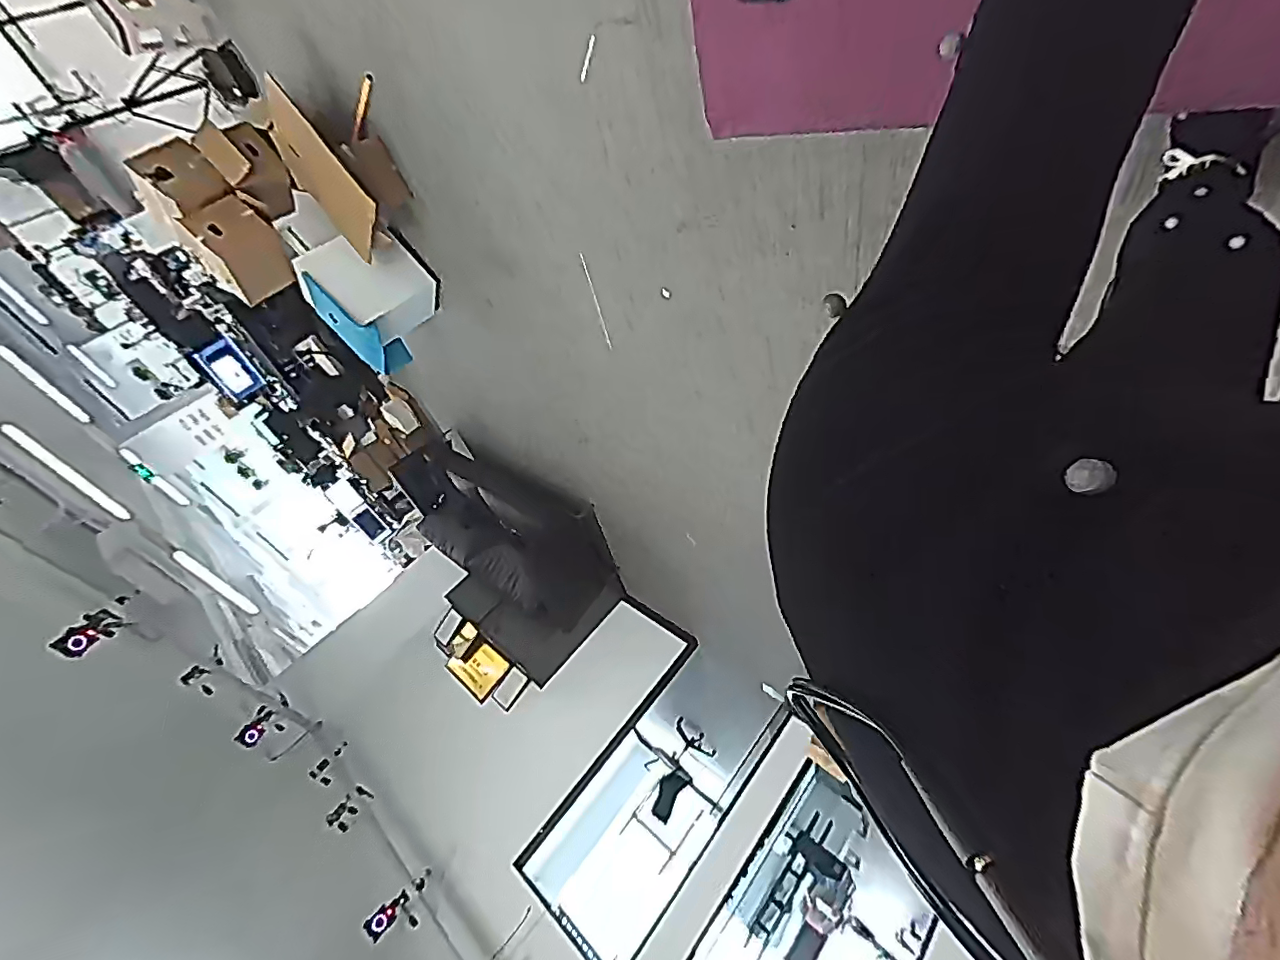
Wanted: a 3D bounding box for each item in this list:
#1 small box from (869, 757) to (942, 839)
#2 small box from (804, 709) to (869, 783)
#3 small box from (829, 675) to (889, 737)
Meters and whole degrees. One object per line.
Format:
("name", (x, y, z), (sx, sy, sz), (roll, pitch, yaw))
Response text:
("small box", (0.945, 1.130, 1.924), (0.168, 0.176, 0.179), (28, 149, 32))
("small box", (0.746, 1.007, 2.053), (0.168, 0.176, 0.179), (30, 150, 31))
("small box", (0.854, 0.905, 2.123), (0.168, 0.176, 0.179), (29, 149, 31))
